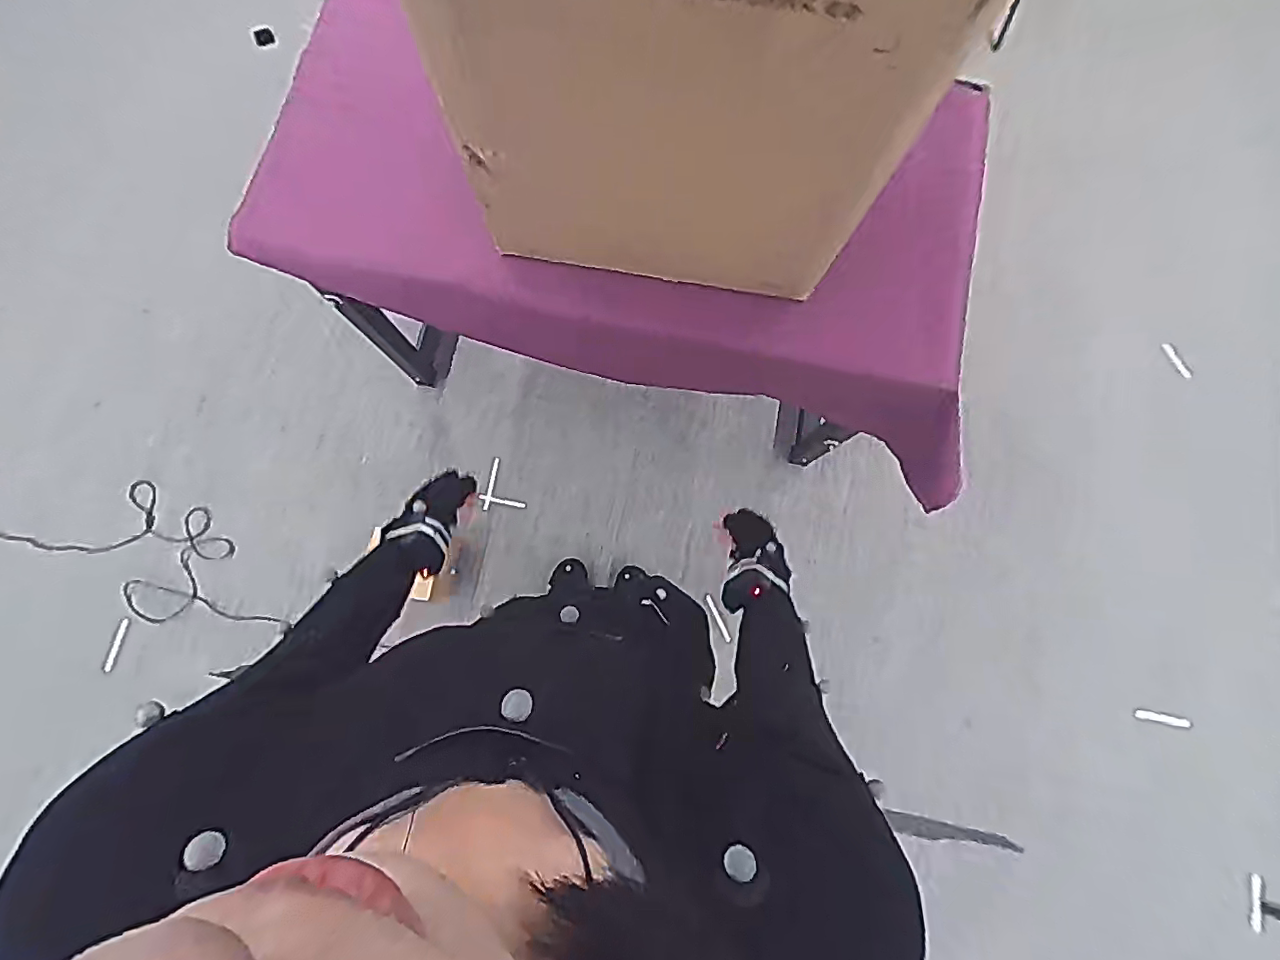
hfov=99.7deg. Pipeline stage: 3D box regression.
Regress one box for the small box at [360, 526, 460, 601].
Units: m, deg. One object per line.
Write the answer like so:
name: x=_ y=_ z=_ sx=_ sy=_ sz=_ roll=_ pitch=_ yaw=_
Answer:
small box: x=-0.599 y=0.223 z=1.429 sx=0.179 sy=0.176 sz=0.168 roll=9 pitch=80 yaw=-1
